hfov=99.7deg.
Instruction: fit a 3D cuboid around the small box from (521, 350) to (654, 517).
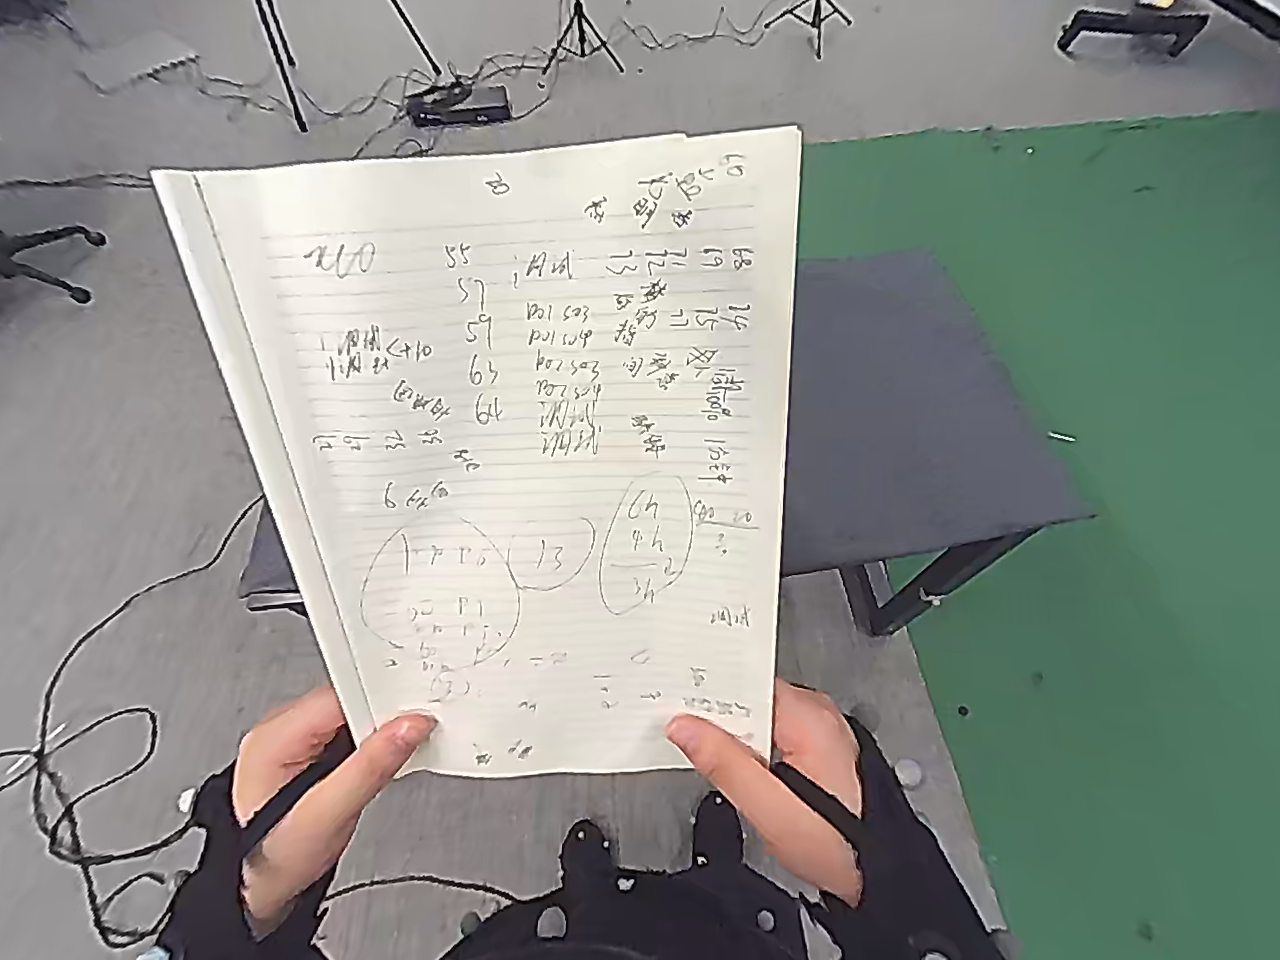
[{"bbox_3d":[-0.066,-0.064,0.781,0.168,0.176,0.179,-3,59,1],"label":"small box"}]
